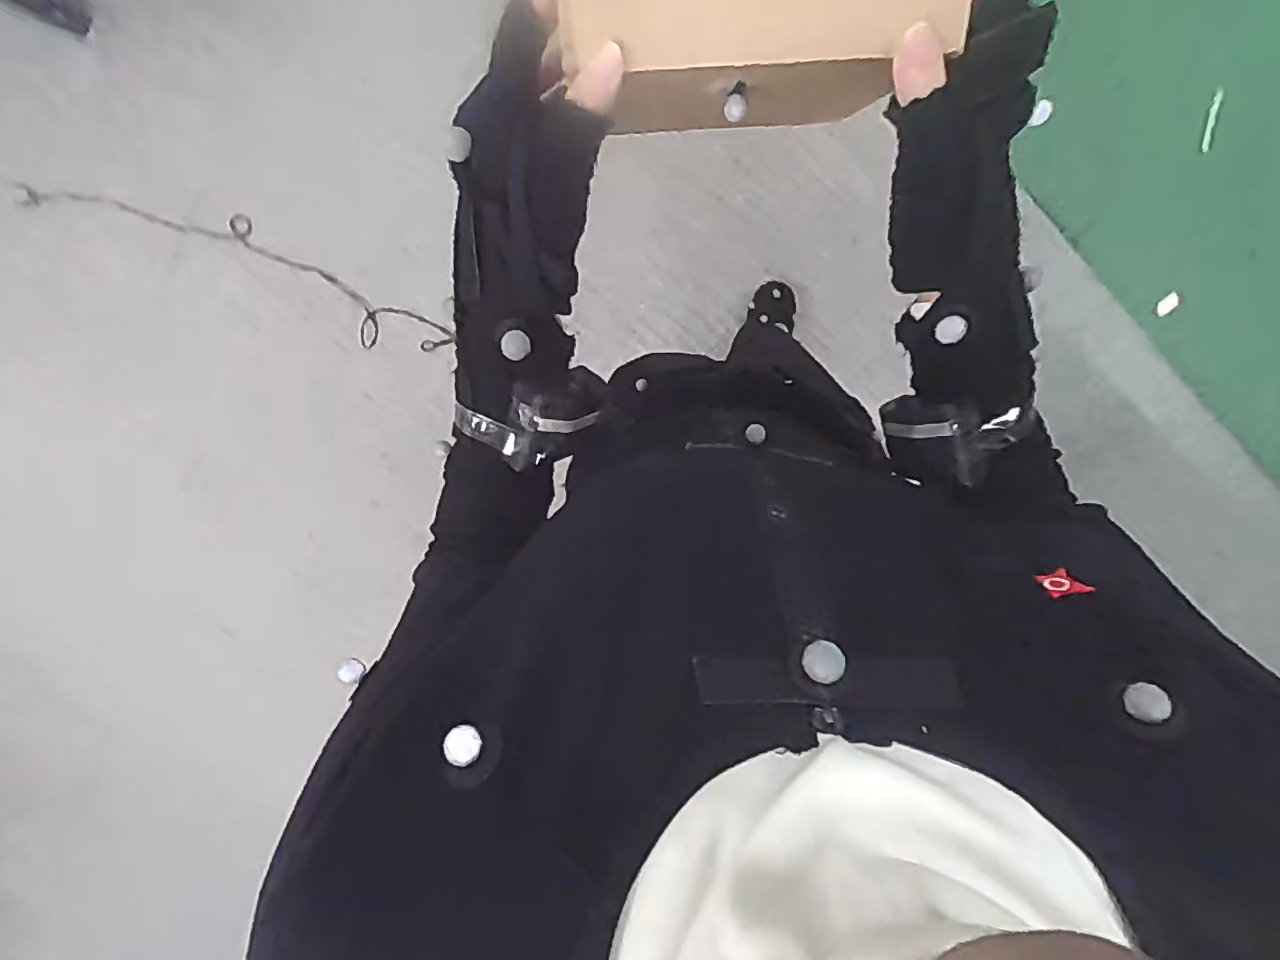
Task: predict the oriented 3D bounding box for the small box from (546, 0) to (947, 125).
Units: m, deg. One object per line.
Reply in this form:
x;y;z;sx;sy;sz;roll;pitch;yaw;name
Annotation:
0.043;-0.300;0.282;0.179;0.176;0.168;-4;115;2;small box
